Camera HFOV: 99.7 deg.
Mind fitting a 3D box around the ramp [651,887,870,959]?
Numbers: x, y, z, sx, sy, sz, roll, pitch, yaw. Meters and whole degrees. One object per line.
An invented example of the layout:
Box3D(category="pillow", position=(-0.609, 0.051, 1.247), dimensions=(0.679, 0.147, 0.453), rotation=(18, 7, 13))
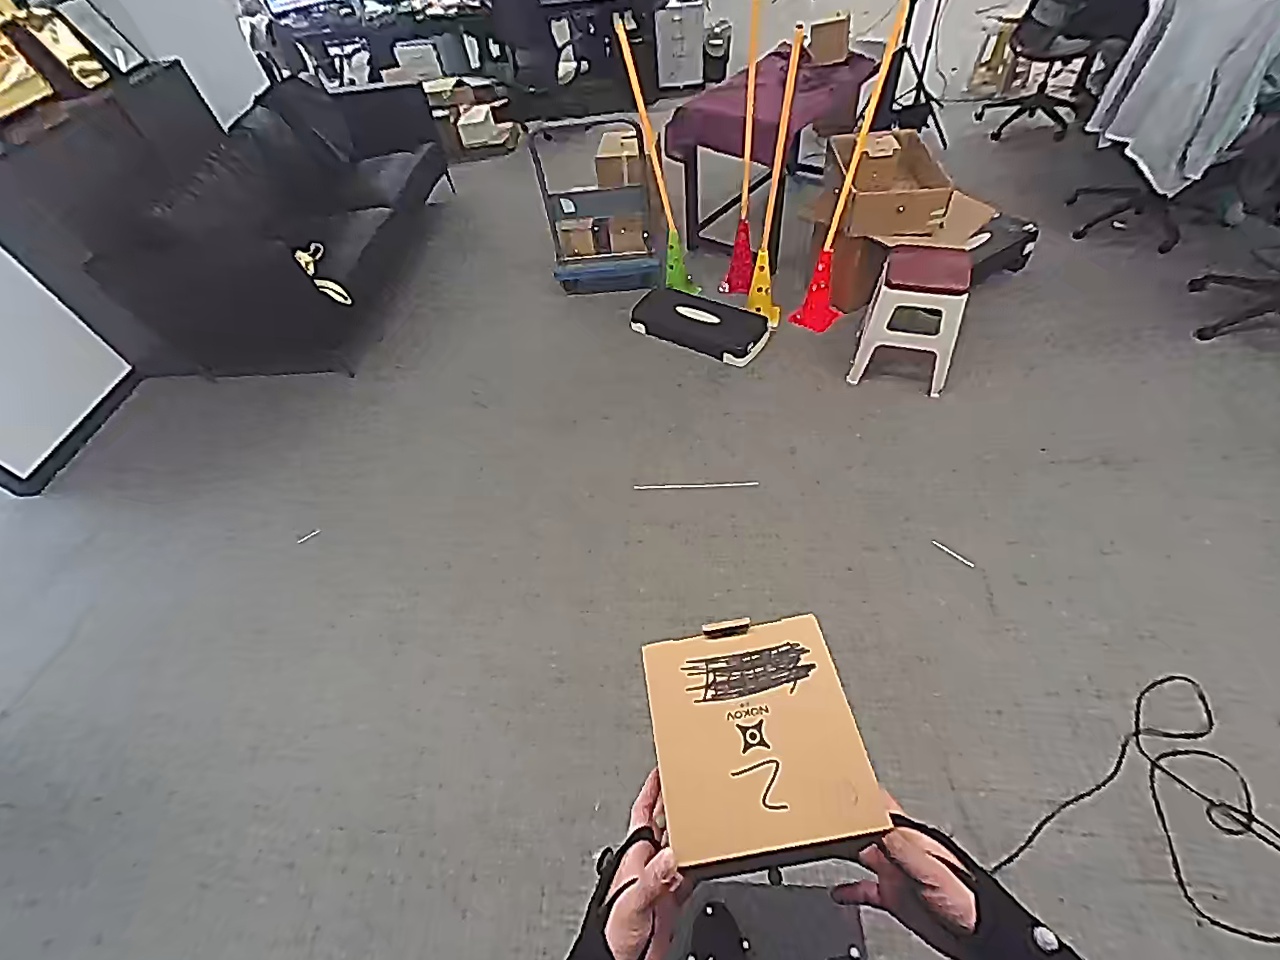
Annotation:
Box3D(category="ramp", position=(0.241, 1.323, 0.933), dimensions=(0.509, 0.206, 0.991), rotation=(-4, 50, 7))
